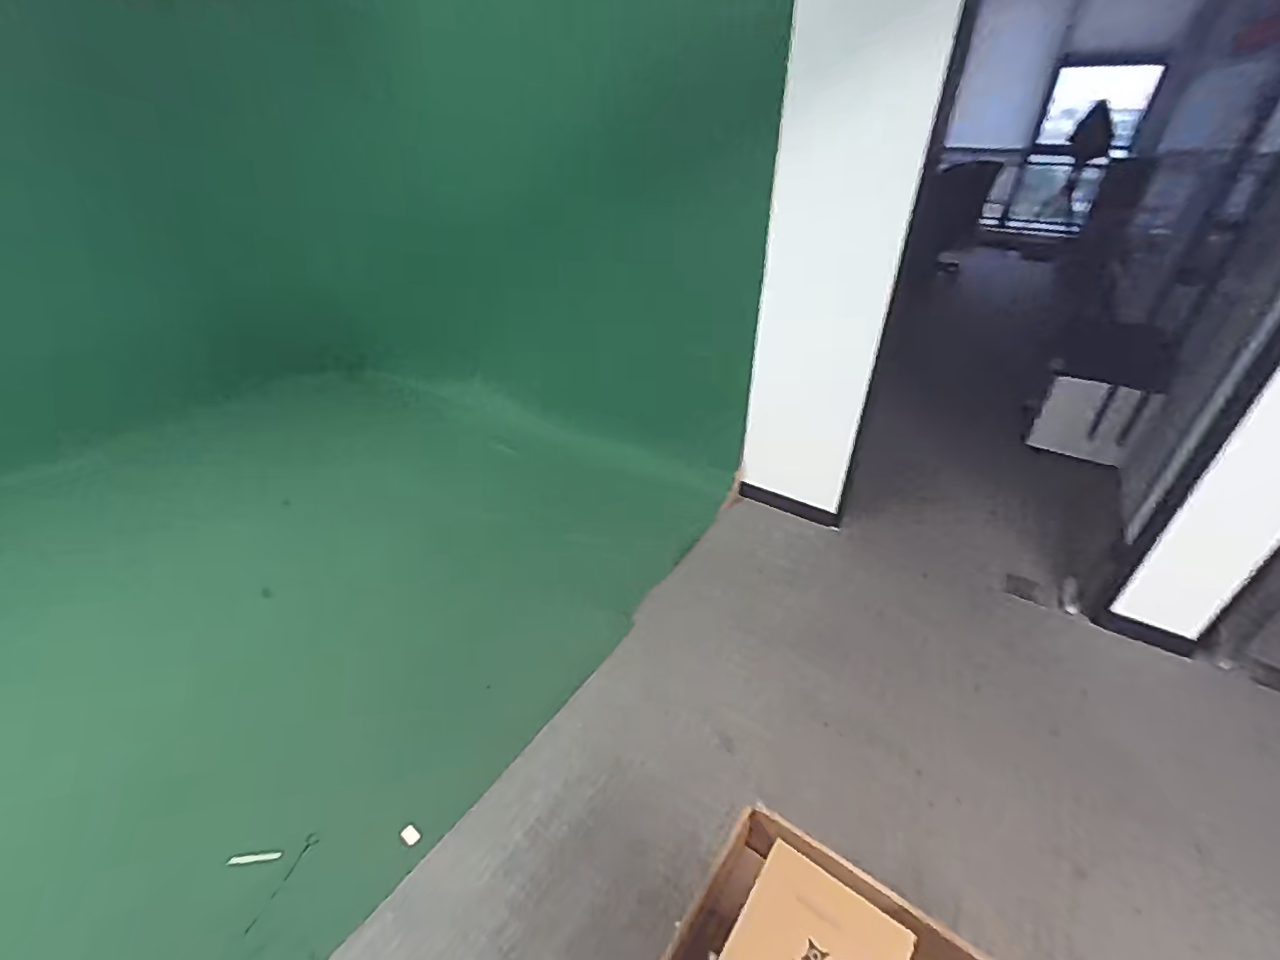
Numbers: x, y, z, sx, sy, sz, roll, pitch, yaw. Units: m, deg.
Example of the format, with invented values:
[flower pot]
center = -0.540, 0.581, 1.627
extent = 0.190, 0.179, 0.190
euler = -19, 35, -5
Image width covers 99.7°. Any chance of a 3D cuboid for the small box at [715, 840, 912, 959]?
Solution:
[small box]
center = 0.184, 0.578, 0.621
extent = 0.168, 0.176, 0.179
euler = 24, 41, 30
